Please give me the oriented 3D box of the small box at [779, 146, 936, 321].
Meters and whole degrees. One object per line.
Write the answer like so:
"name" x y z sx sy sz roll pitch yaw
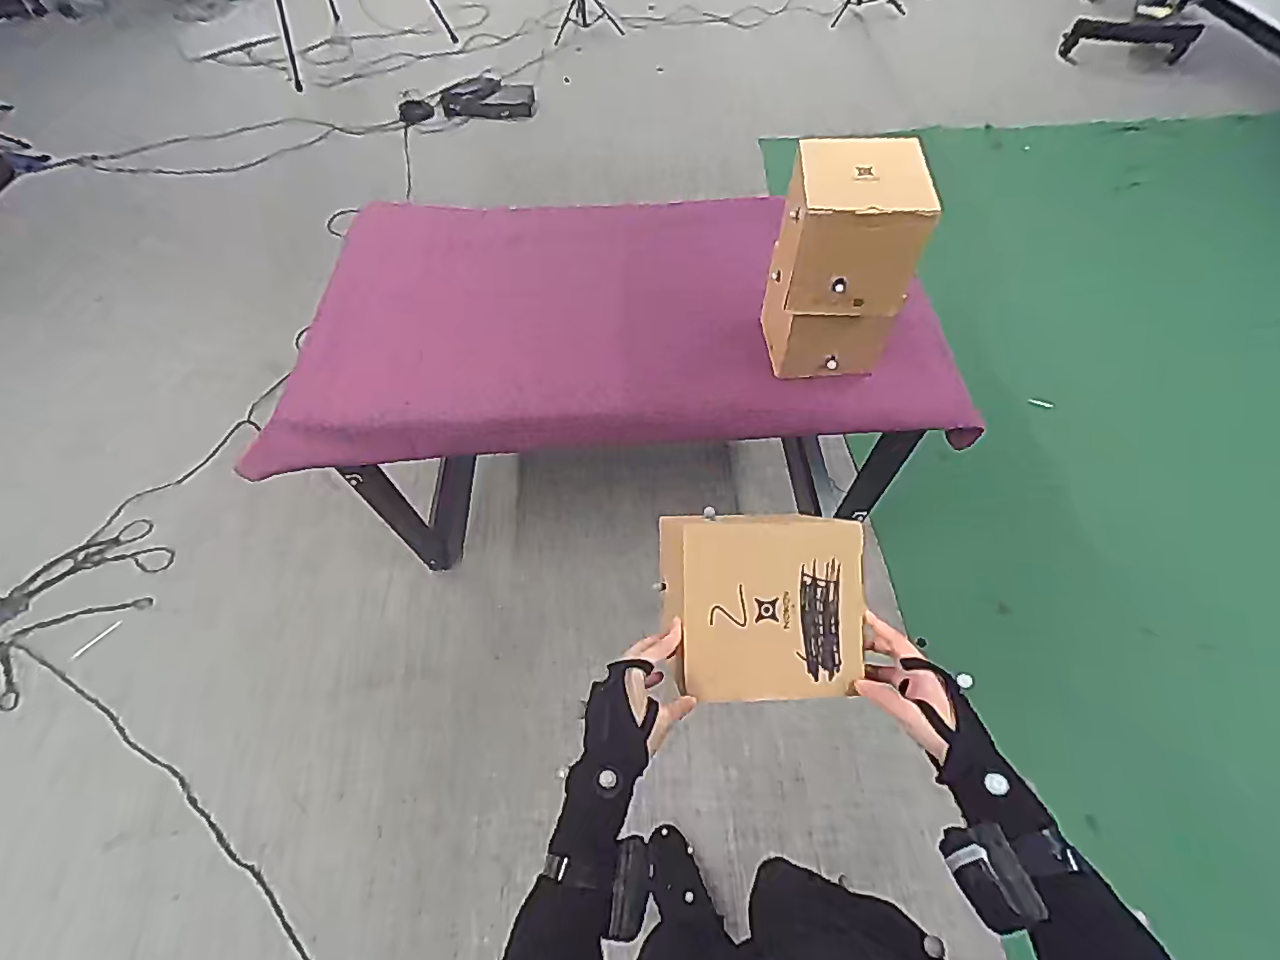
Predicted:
"small box" 0.301 -0.358 0.791 0.168 0.176 0.179 3 58 6

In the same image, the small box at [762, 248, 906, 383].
"small box" 0.322 -0.286 0.938 0.179 0.176 0.168 -4 56 1
